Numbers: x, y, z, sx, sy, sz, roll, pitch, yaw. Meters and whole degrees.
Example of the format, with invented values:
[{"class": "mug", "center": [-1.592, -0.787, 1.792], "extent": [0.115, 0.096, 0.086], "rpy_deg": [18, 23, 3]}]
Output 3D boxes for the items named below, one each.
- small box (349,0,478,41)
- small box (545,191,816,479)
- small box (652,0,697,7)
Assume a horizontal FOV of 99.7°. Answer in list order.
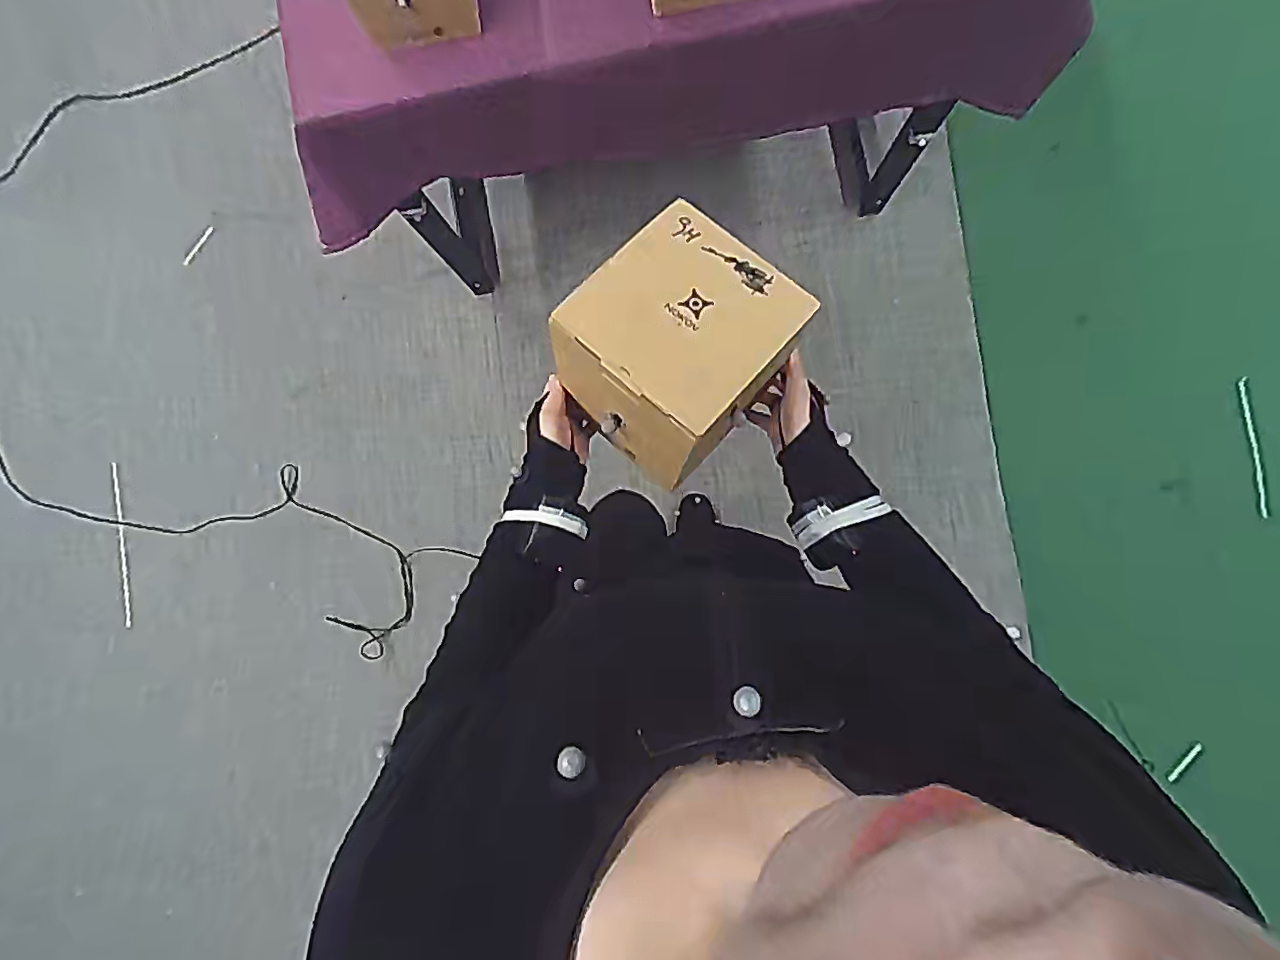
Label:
[{"class": "small box", "center": [-0.338, -0.760, 0.755], "extent": [0.168, 0.176, 0.179], "rpy_deg": [-7, 87, 2]}, {"class": "small box", "center": [0.034, -0.126, 0.532], "extent": [0.168, 0.176, 0.179], "rpy_deg": [41, 76, 8]}, {"class": "small box", "center": [0.087, -0.797, 0.733], "extent": [0.179, 0.176, 0.168], "rpy_deg": [-9, 87, 3]}]
